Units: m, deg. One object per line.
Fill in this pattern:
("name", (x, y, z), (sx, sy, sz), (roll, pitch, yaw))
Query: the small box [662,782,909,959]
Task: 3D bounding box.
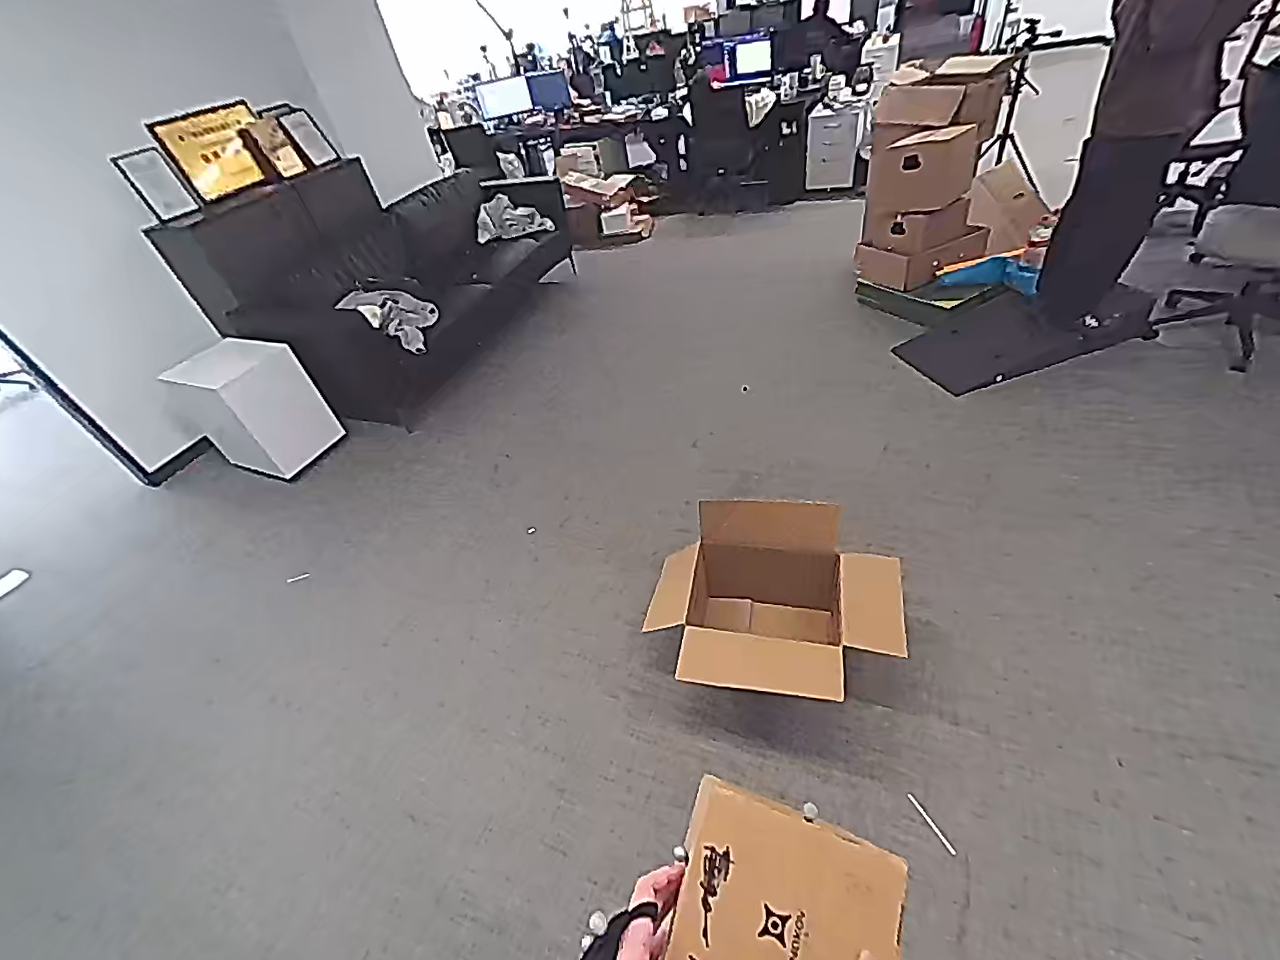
("small box", (0.127, 0.404, 0.517), (0.179, 0.176, 0.168), (16, 64, 11))
